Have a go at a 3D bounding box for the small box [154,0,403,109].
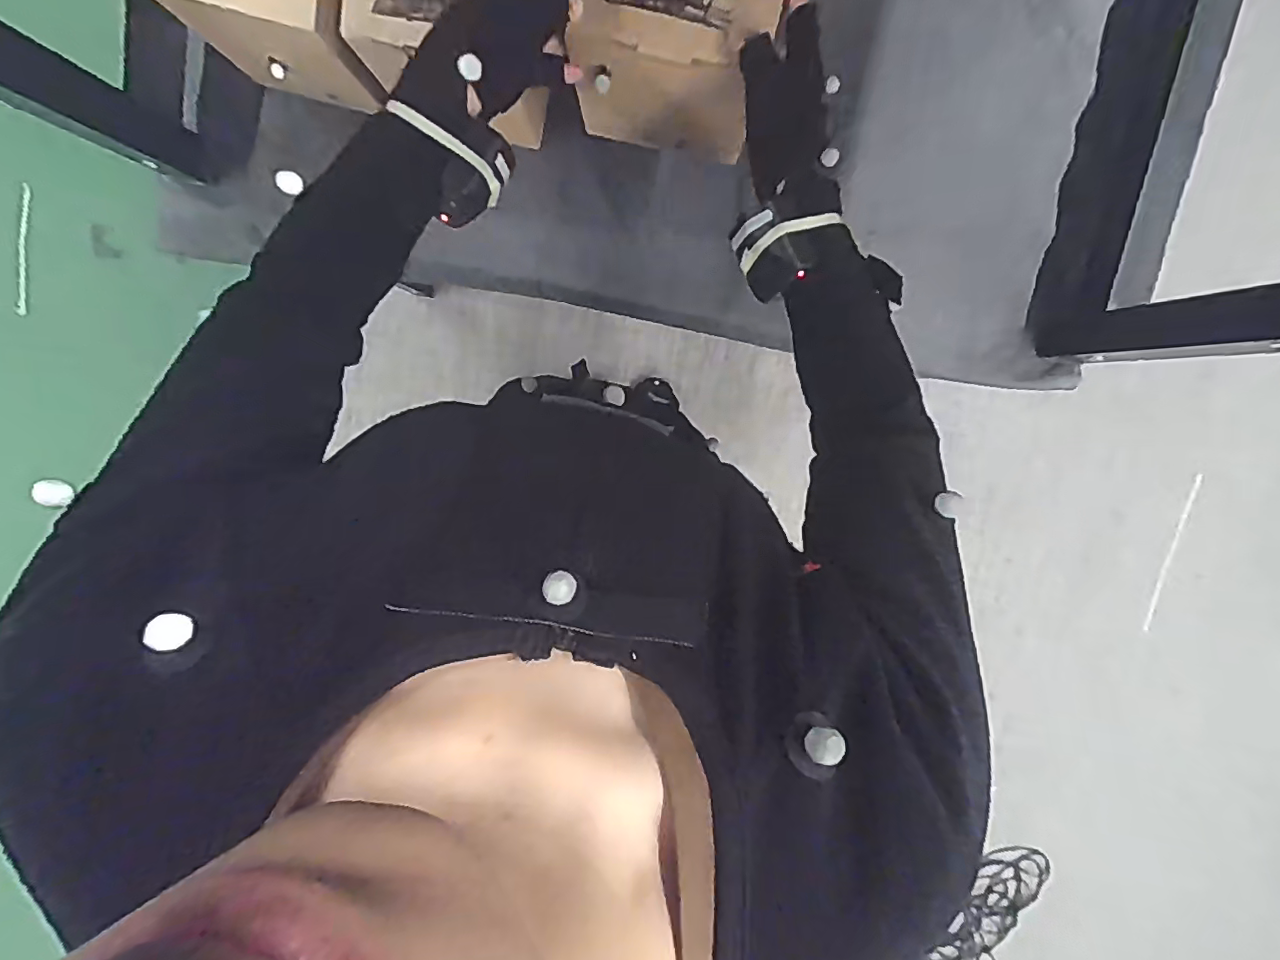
[{"bbox_3d":[-0.365,-0.529,0.558,0.168,0.176,0.179,13,99,-4],"label":"small box"}]
